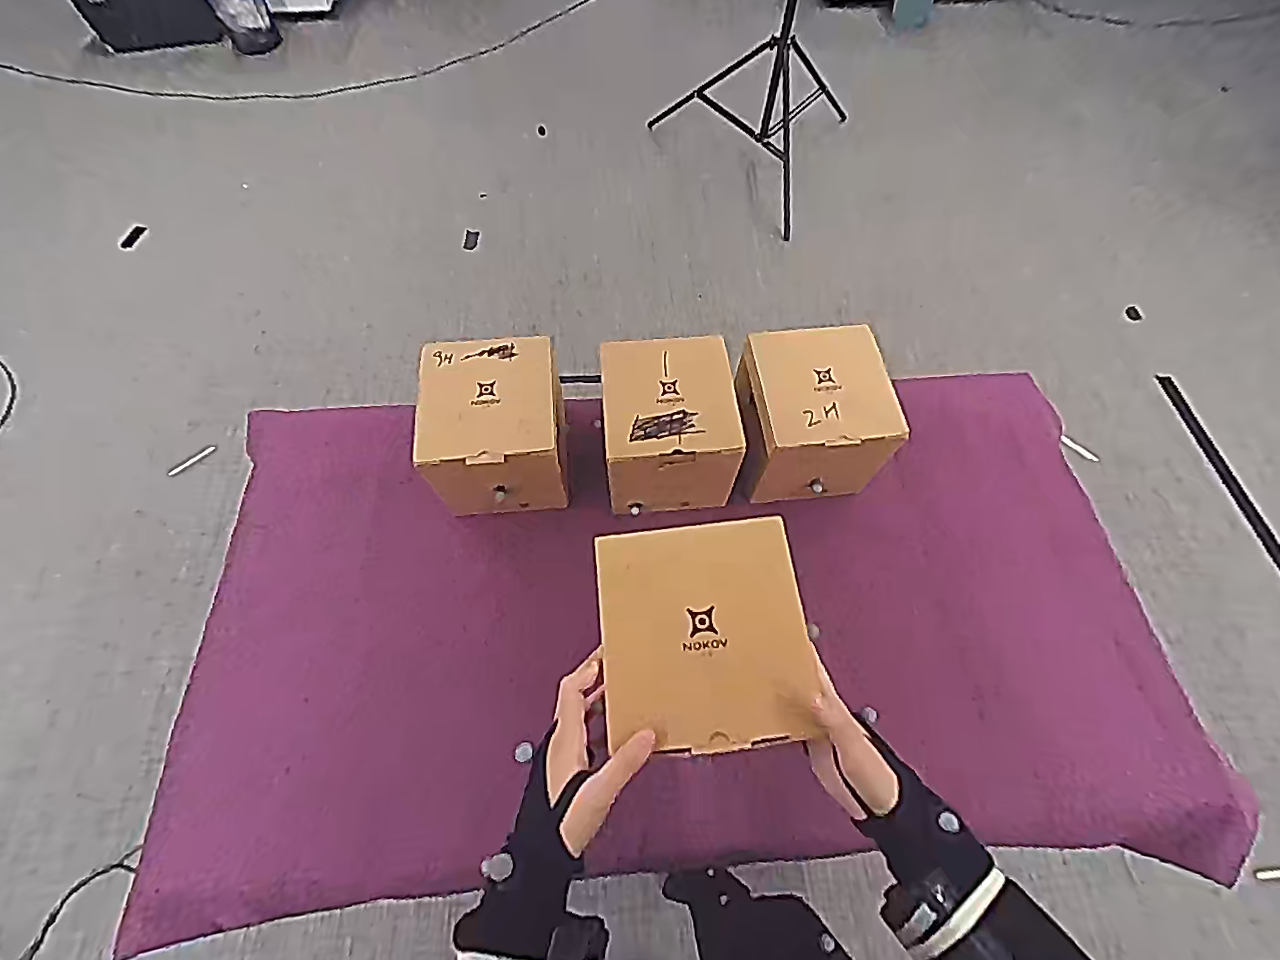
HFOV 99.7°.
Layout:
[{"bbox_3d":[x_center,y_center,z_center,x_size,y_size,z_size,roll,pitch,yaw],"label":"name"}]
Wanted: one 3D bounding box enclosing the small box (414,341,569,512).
[{"bbox_3d":[-0.189,-0.063,0.734,0.168,0.176,0.179,-5,66,-3],"label":"small box"}]
